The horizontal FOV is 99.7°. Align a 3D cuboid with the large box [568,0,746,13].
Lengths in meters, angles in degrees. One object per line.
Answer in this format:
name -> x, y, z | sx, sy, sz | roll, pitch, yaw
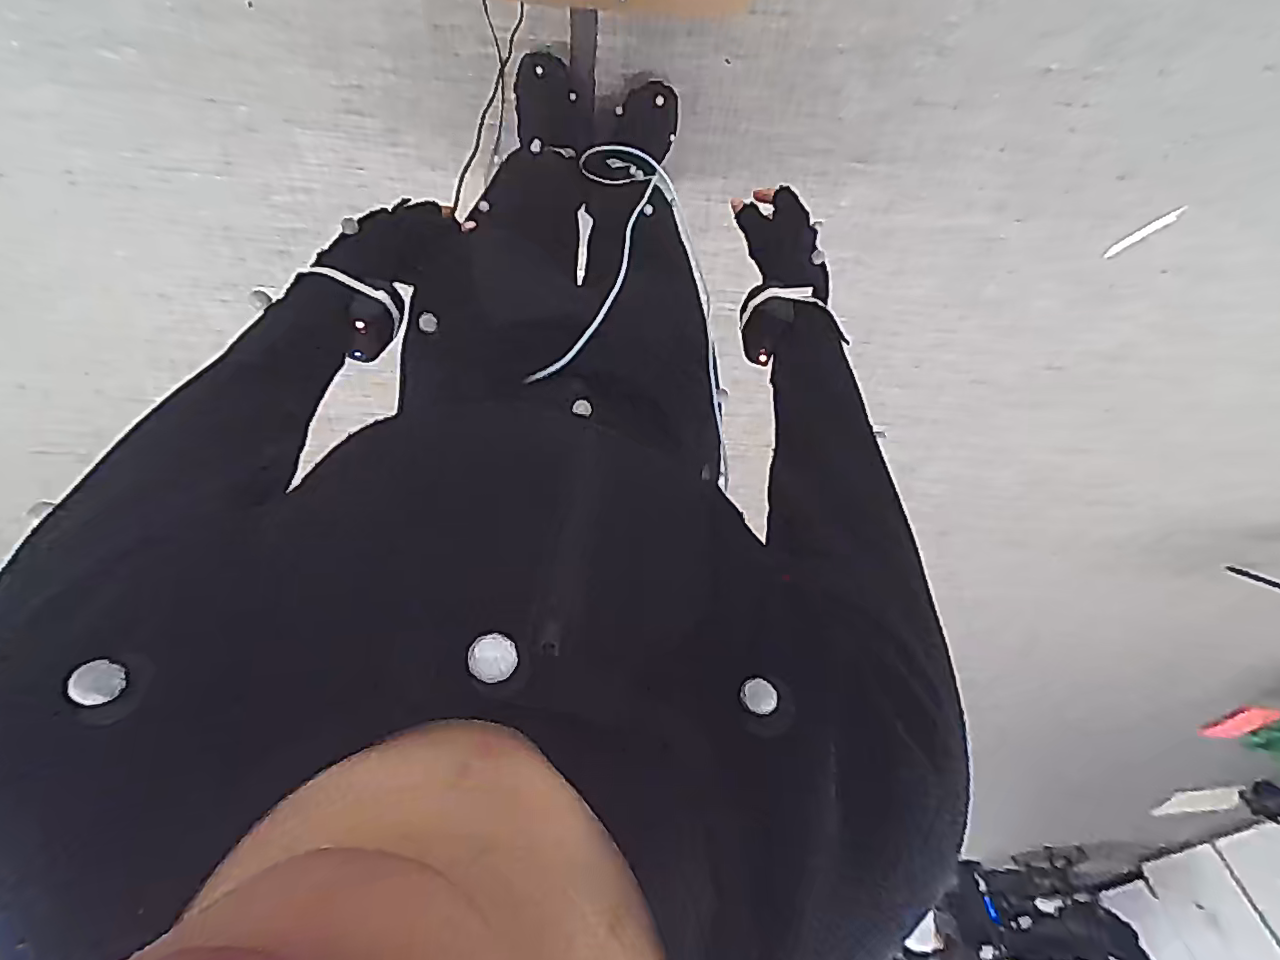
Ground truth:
large box -> -0.011, -0.866, 0.715 | 0.408, 0.320, 0.320 | 1, 117, -5
